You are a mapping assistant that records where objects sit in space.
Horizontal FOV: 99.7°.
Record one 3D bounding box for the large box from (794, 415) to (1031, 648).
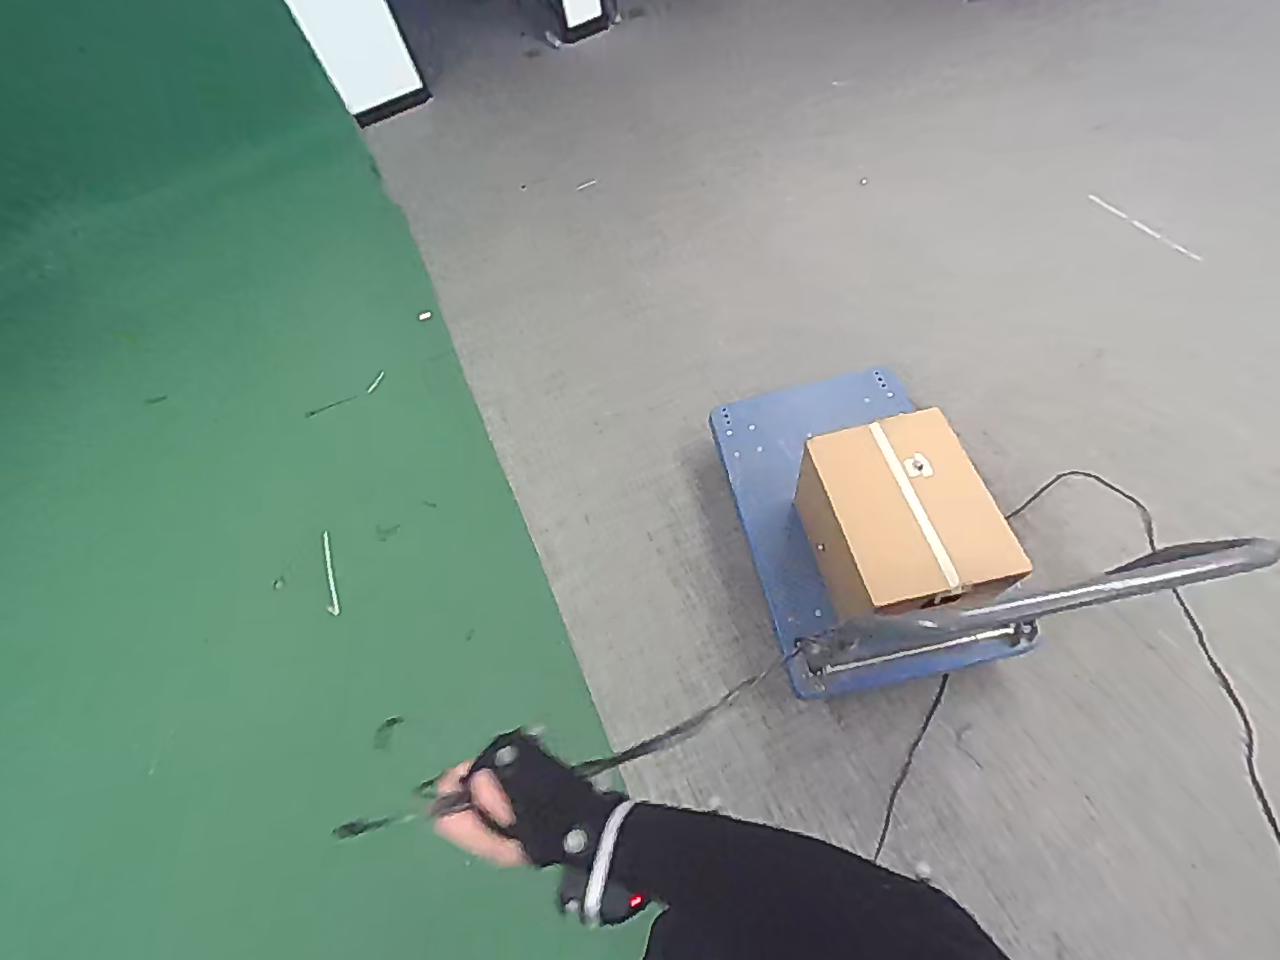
[{"bbox_3d":[0.580,0.127,1.252,0.320,0.320,0.408,-13,59,2],"label":"large box"}]
